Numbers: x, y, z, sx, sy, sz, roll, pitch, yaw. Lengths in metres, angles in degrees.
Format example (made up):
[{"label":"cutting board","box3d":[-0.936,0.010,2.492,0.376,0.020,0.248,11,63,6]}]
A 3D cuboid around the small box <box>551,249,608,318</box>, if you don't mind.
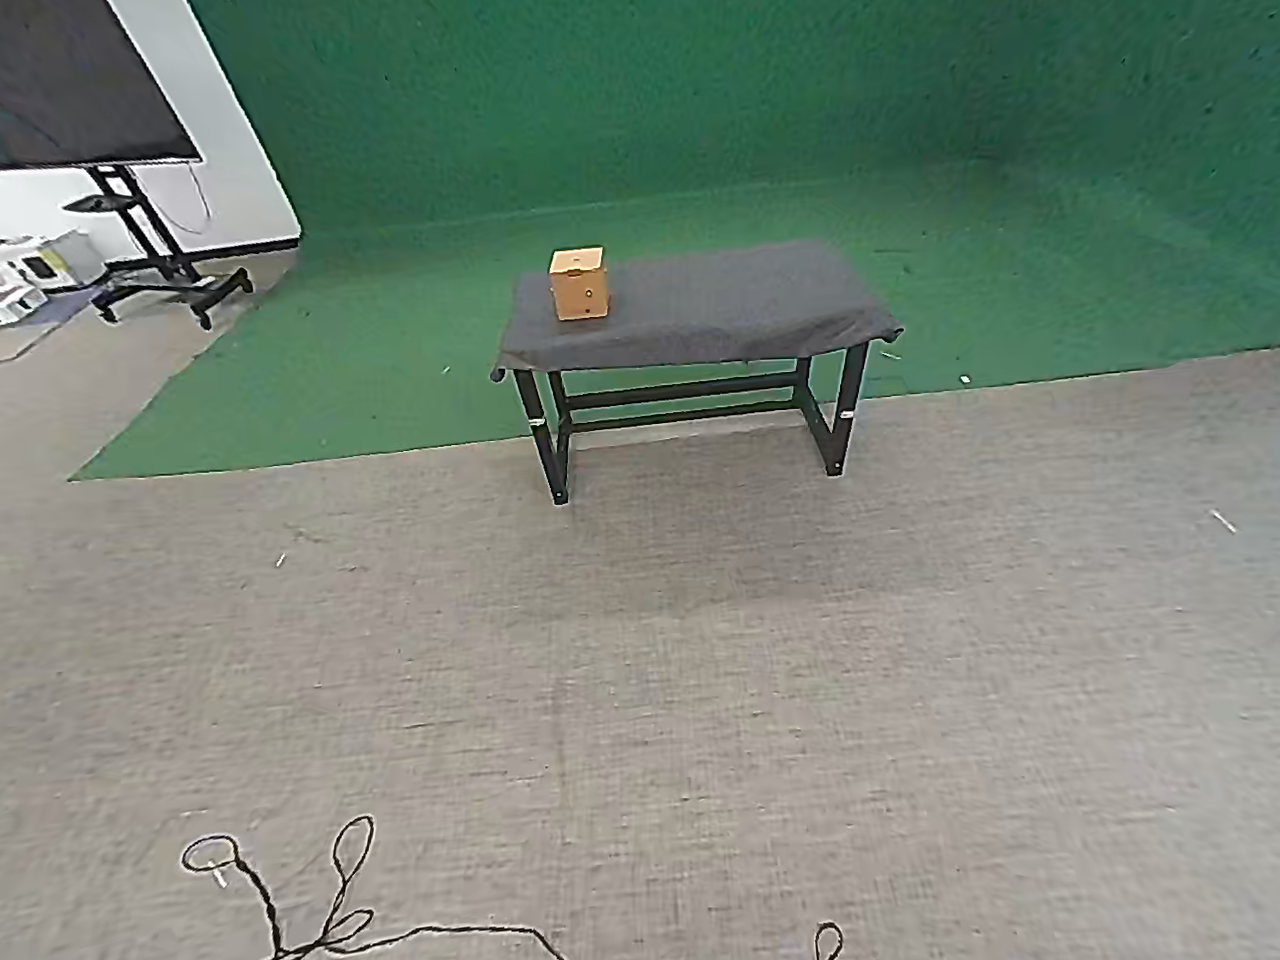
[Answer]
[{"label":"small box","box3d":[-0.198,-0.662,1.836,0.168,0.176,0.179,-3,43,2]}]
